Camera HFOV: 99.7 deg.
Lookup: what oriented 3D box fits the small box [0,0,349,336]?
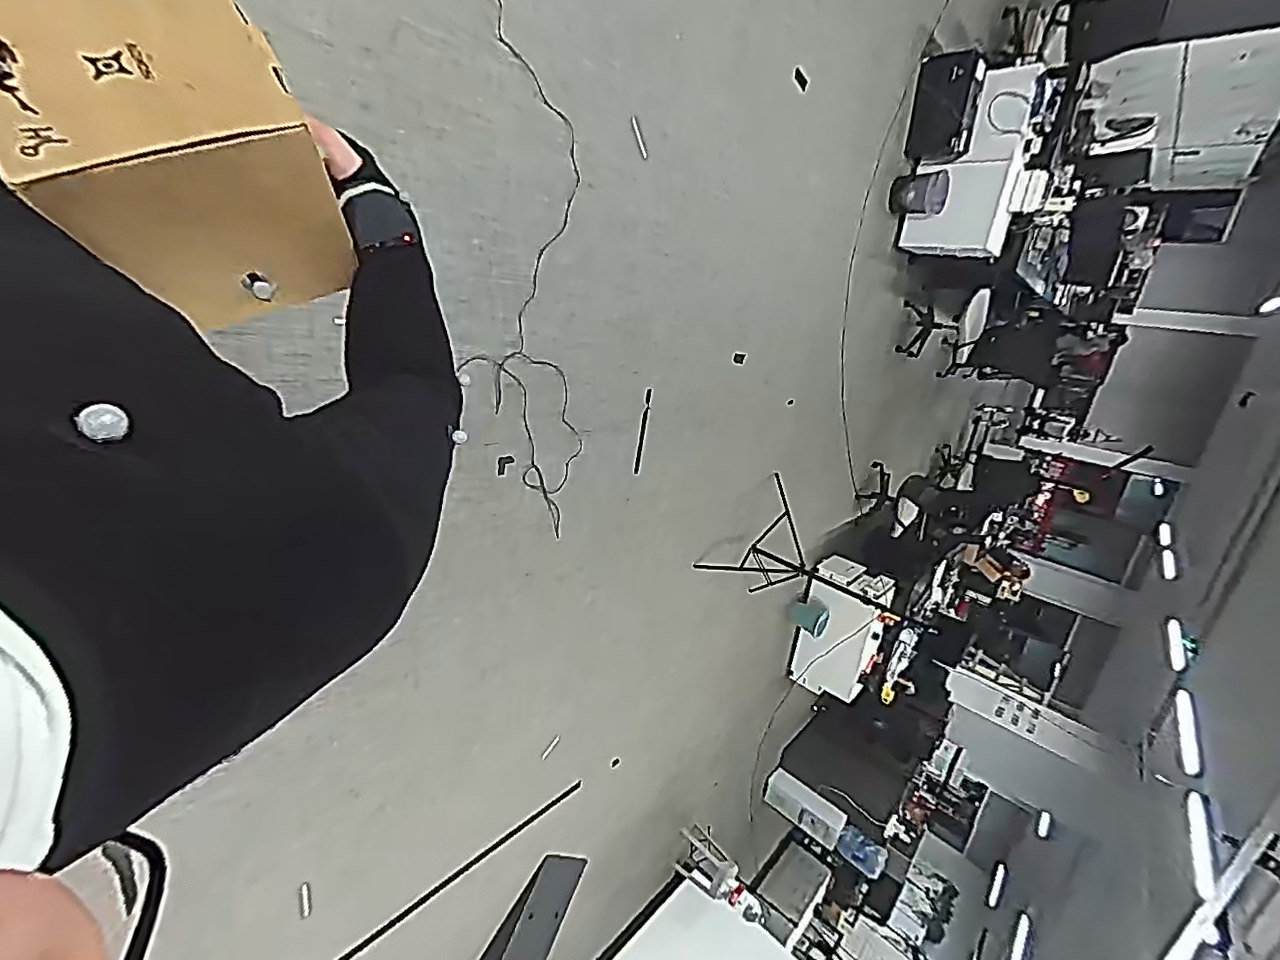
[{"bbox_3d":[-0.374,-0.256,0.460,0.179,0.168,0.176,-29,168,-22],"label":"small box"}]
